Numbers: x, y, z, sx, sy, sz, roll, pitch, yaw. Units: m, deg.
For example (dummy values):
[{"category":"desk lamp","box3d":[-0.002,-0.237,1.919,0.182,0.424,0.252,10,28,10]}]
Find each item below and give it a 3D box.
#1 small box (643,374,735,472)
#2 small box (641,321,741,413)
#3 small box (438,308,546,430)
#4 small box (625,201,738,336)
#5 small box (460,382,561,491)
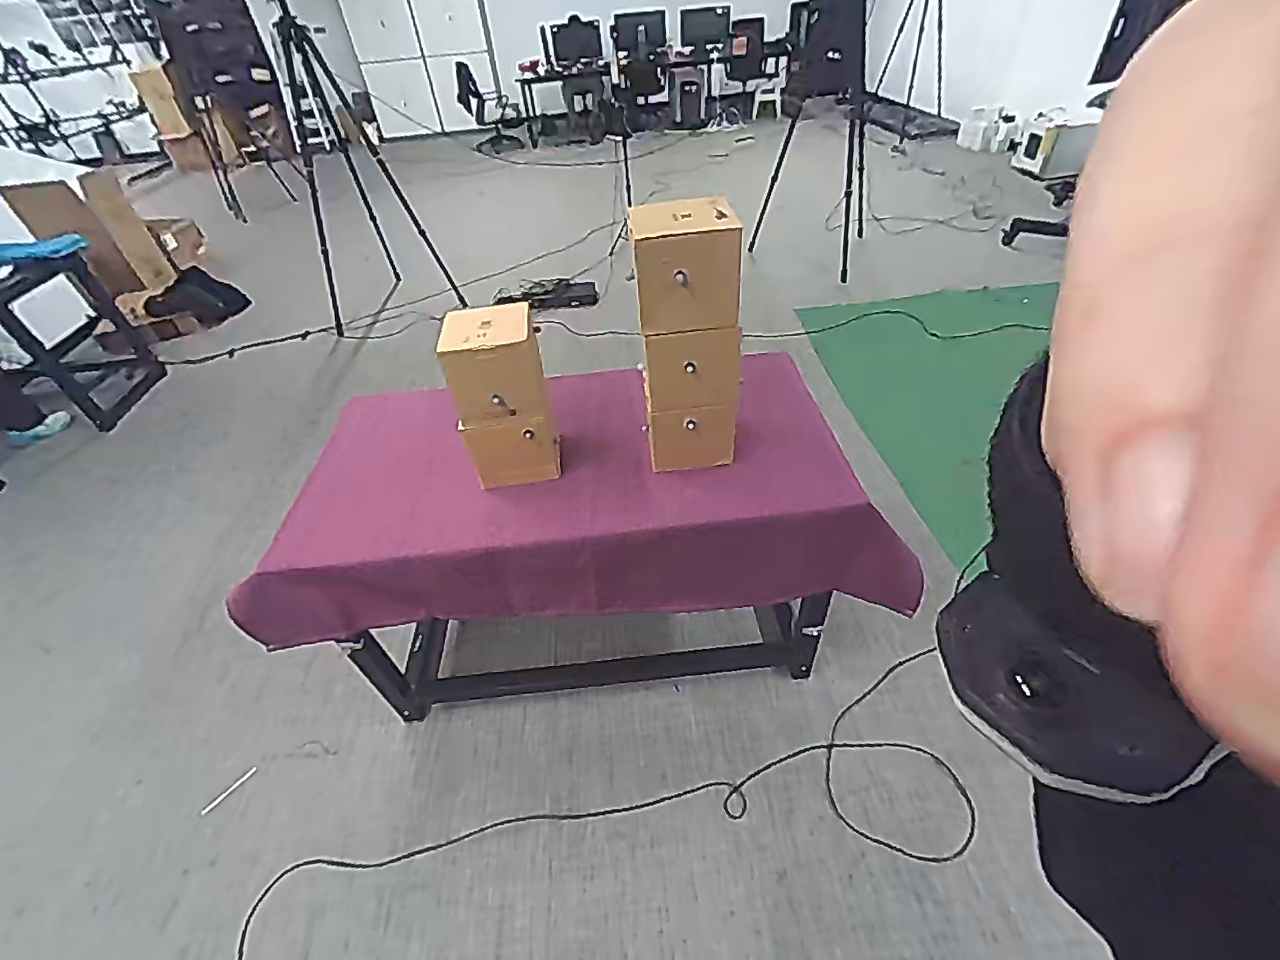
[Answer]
[{"category":"small box","box3d":[0.105,-0.131,1.180,0.179,0.176,0.168,-6,43,0]},{"category":"small box","box3d":[0.095,-0.251,1.068,0.179,0.176,0.168,-7,43,1]},{"category":"small box","box3d":[-0.287,-0.223,1.087,0.168,0.176,0.179,-9,42,-3]},{"category":"small box","box3d":[0.074,-0.370,0.957,0.179,0.176,0.168,-7,43,1]},{"category":"small box","box3d":[-0.277,-0.093,1.190,0.179,0.176,0.168,-9,42,-4]}]
